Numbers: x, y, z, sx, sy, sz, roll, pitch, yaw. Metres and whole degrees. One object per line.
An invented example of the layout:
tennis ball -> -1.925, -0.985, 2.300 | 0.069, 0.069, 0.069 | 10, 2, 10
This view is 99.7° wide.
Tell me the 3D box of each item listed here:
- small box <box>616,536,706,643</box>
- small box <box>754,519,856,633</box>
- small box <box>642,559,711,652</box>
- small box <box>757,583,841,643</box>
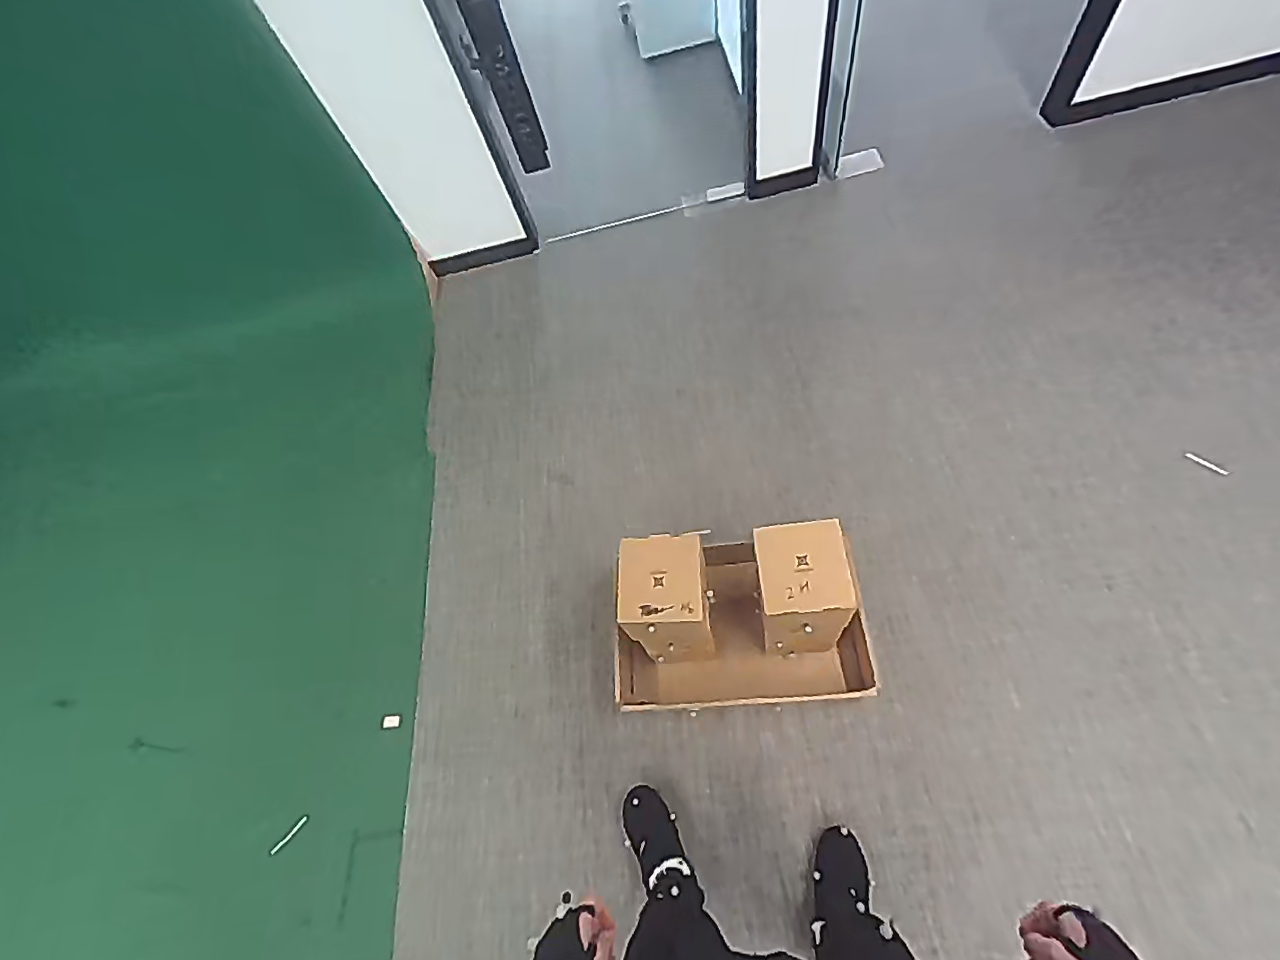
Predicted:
small box -> 0.049, 0.229, 1.121 | 0.168, 0.176, 0.179 | -3, 61, 9
small box -> 0.321, 0.197, 1.083 | 0.168, 0.176, 0.179 | -7, 62, 10
small box -> 0.078, 0.295, 1.270 | 0.168, 0.176, 0.179 | -6, 61, 8
small box -> 0.354, 0.269, 1.227 | 0.168, 0.176, 0.179 | -5, 61, 11
